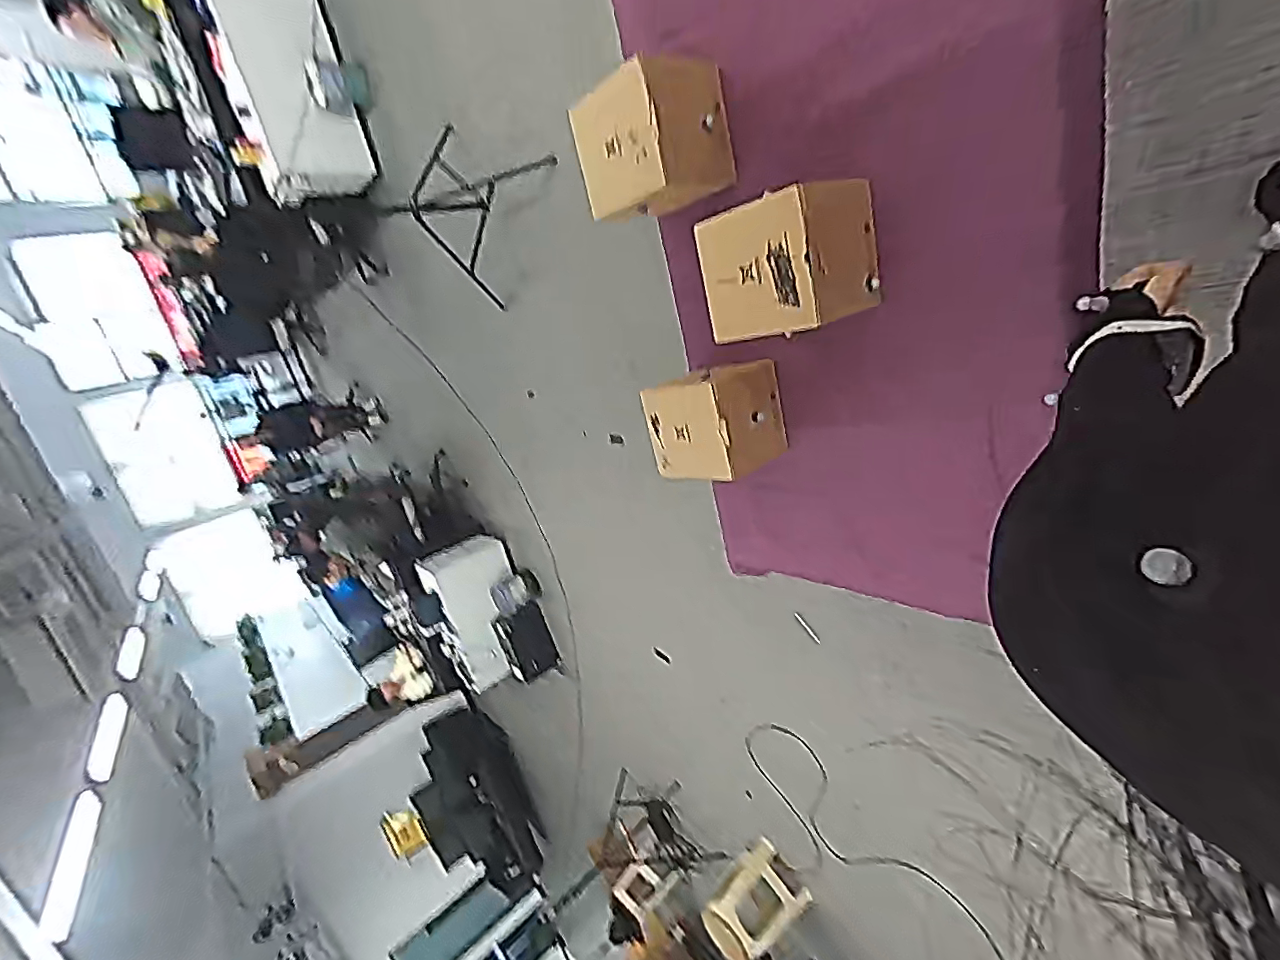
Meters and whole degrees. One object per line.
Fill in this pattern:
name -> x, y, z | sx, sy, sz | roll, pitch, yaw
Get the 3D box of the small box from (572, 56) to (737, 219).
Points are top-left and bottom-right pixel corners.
small box -> 0.025, -0.527, 0.856 | 0.179, 0.176, 0.168 | 5, 116, 49

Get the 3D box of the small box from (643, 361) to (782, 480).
small box -> 0.138, -0.108, 0.968 | 0.179, 0.176, 0.168 | 4, 113, 48

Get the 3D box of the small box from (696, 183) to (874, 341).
small box -> 0.210, -0.303, 0.761 | 0.179, 0.176, 0.168 | 7, 116, 51
